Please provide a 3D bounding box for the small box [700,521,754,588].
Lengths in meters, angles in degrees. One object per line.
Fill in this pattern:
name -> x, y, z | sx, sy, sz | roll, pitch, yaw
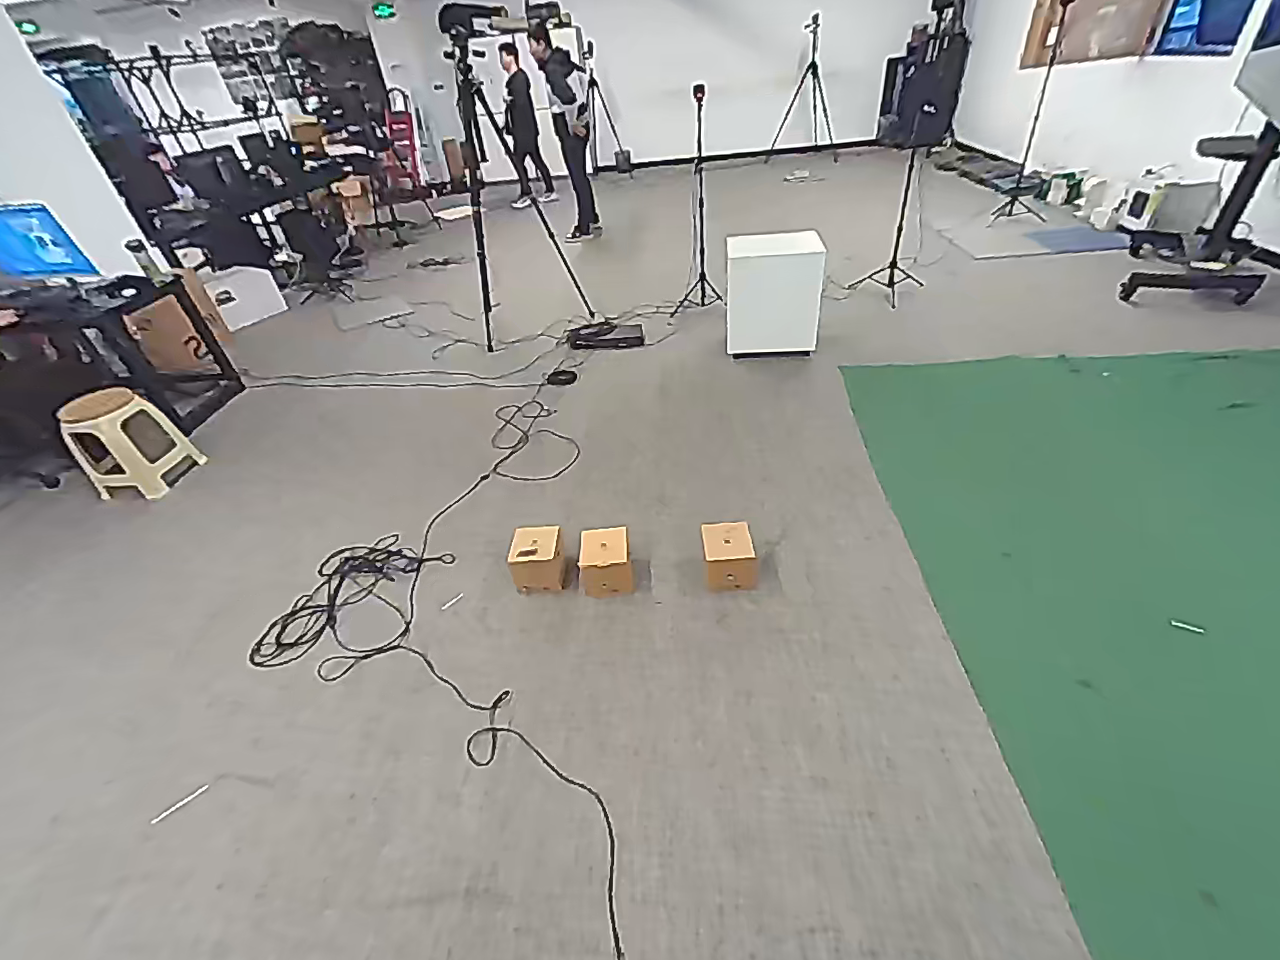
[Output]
small box -> 0.305, 0.268, 1.910 | 0.168, 0.176, 0.179 | -4, 39, 1

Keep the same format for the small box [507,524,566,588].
small box -> -0.373, 0.284, 1.984 | 0.168, 0.176, 0.179 | -3, 38, 4

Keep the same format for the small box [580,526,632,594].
small box -> -0.120, 0.288, 1.945 | 0.168, 0.176, 0.179 | -6, 40, 2
